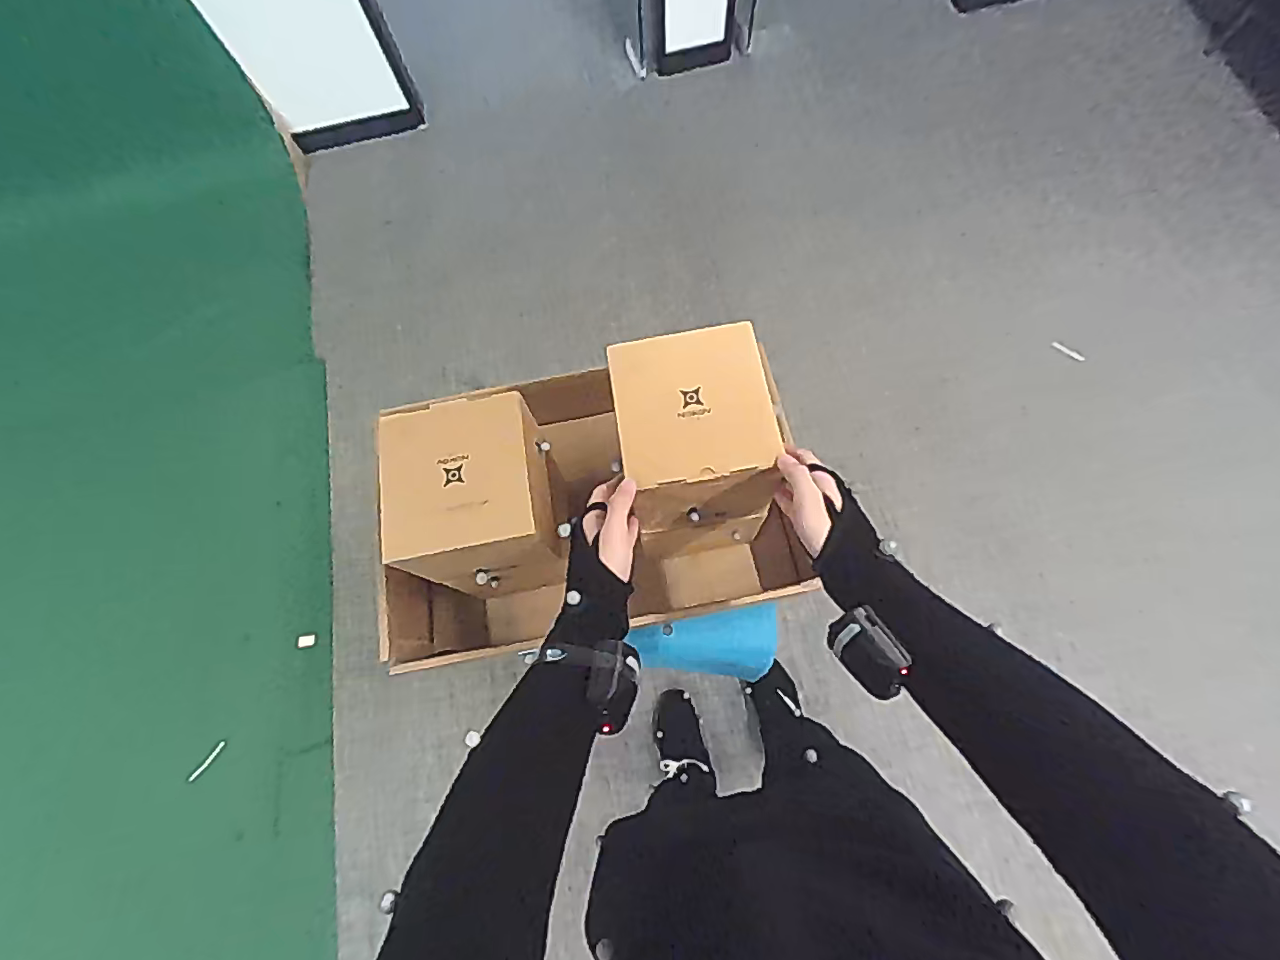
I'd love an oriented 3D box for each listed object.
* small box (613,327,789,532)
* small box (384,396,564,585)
[{"bbox_3d":[0.064,-0.052,0.648,0.168,0.176,0.179,-9,70,1],"label":"small box"},{"bbox_3d":[-0.197,0.021,0.673,0.168,0.176,0.179,-11,70,0],"label":"small box"}]
